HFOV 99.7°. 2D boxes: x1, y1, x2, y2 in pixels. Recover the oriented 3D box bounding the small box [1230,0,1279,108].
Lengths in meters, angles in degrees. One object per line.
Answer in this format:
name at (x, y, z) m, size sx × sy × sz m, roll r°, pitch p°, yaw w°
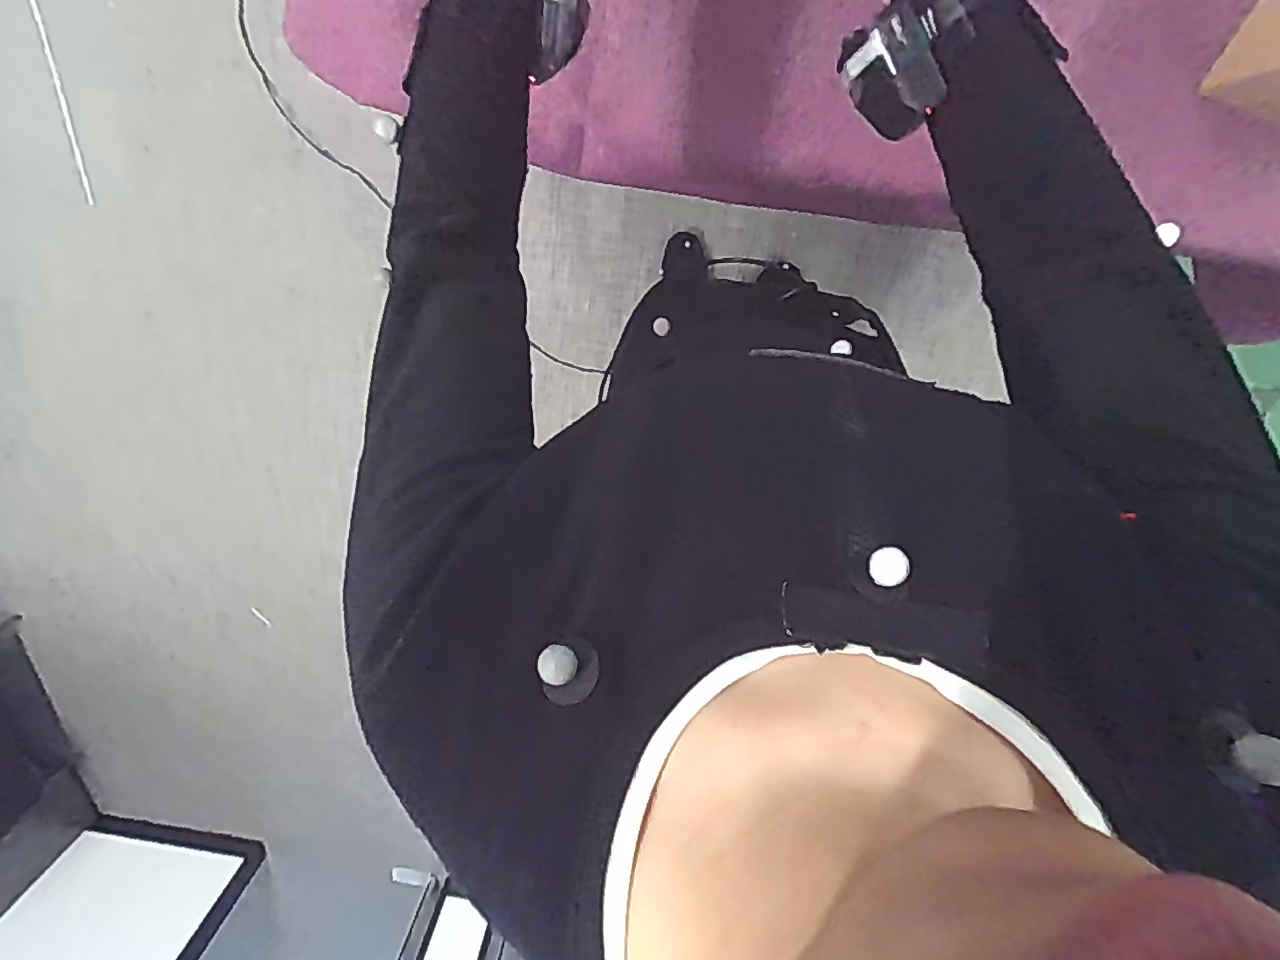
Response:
small box at (0.636, -0.387, 0.414) m, size 0.168 × 0.176 × 0.179 m, roll 20°, pitch 116°, yaw -4°
